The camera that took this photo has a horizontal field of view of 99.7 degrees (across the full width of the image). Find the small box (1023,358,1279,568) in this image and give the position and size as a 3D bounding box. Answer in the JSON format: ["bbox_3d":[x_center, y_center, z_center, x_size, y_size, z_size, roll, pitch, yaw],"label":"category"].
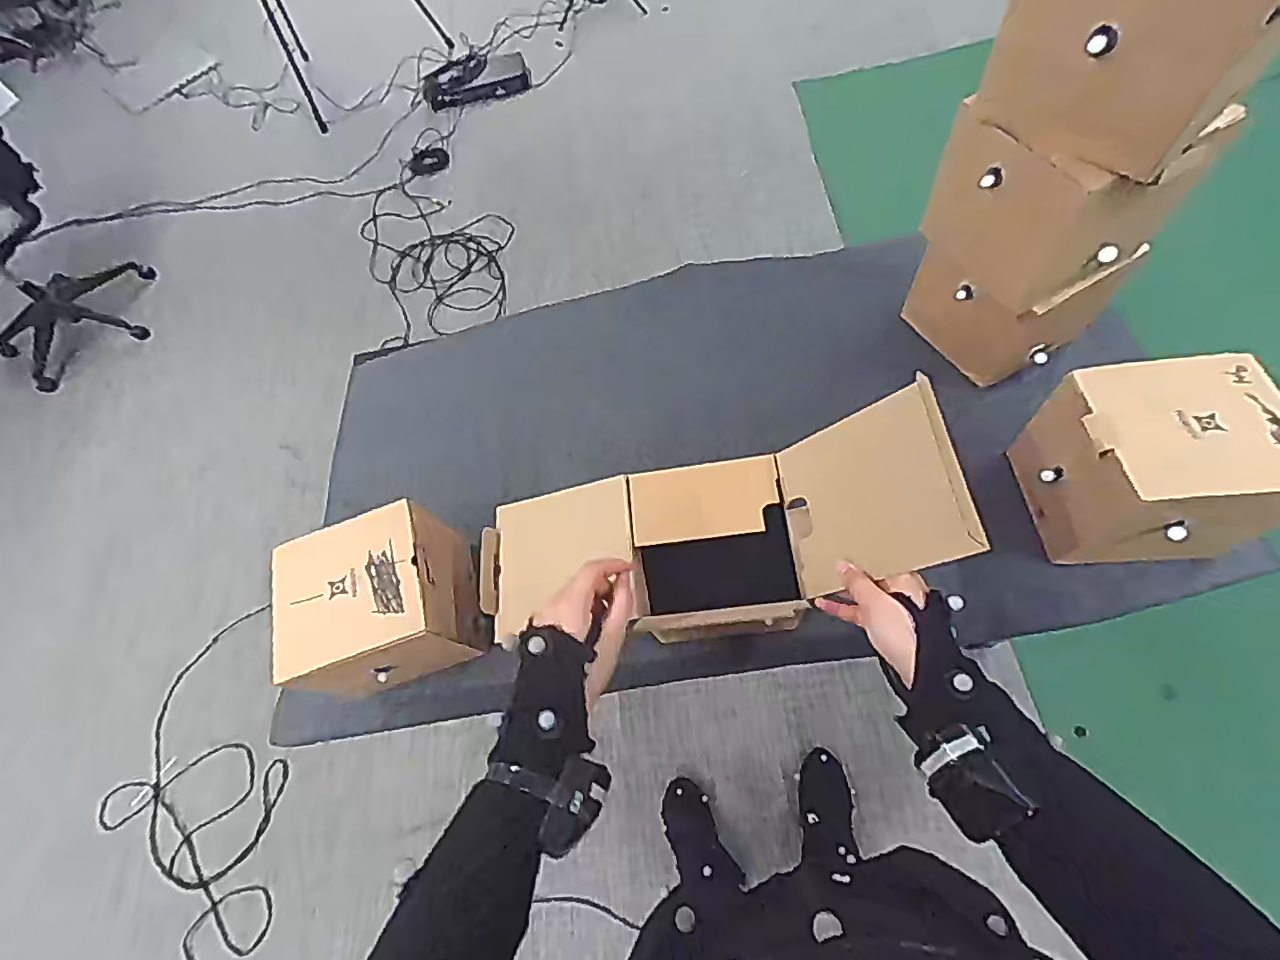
[{"bbox_3d":[0.564,-0.009,0.599,0.179,0.176,0.168,-5,60,9],"label":"small box"}]

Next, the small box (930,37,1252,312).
[{"bbox_3d":[0.456,-0.322,0.590,0.168,0.176,0.179,-27,63,0],"label":"small box"}]

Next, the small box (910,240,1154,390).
[{"bbox_3d":[0.505,-0.257,0.734,0.168,0.176,0.179,-30,65,-2],"label":"small box"}]

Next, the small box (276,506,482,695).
[{"bbox_3d":[-0.314,0.158,0.678,0.179,0.176,0.168,-20,63,1],"label":"small box"}]

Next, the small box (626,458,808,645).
[{"bbox_3d":[0.089,0.094,0.640,0.179,0.176,0.168,-9,65,7],"label":"small box"}]
